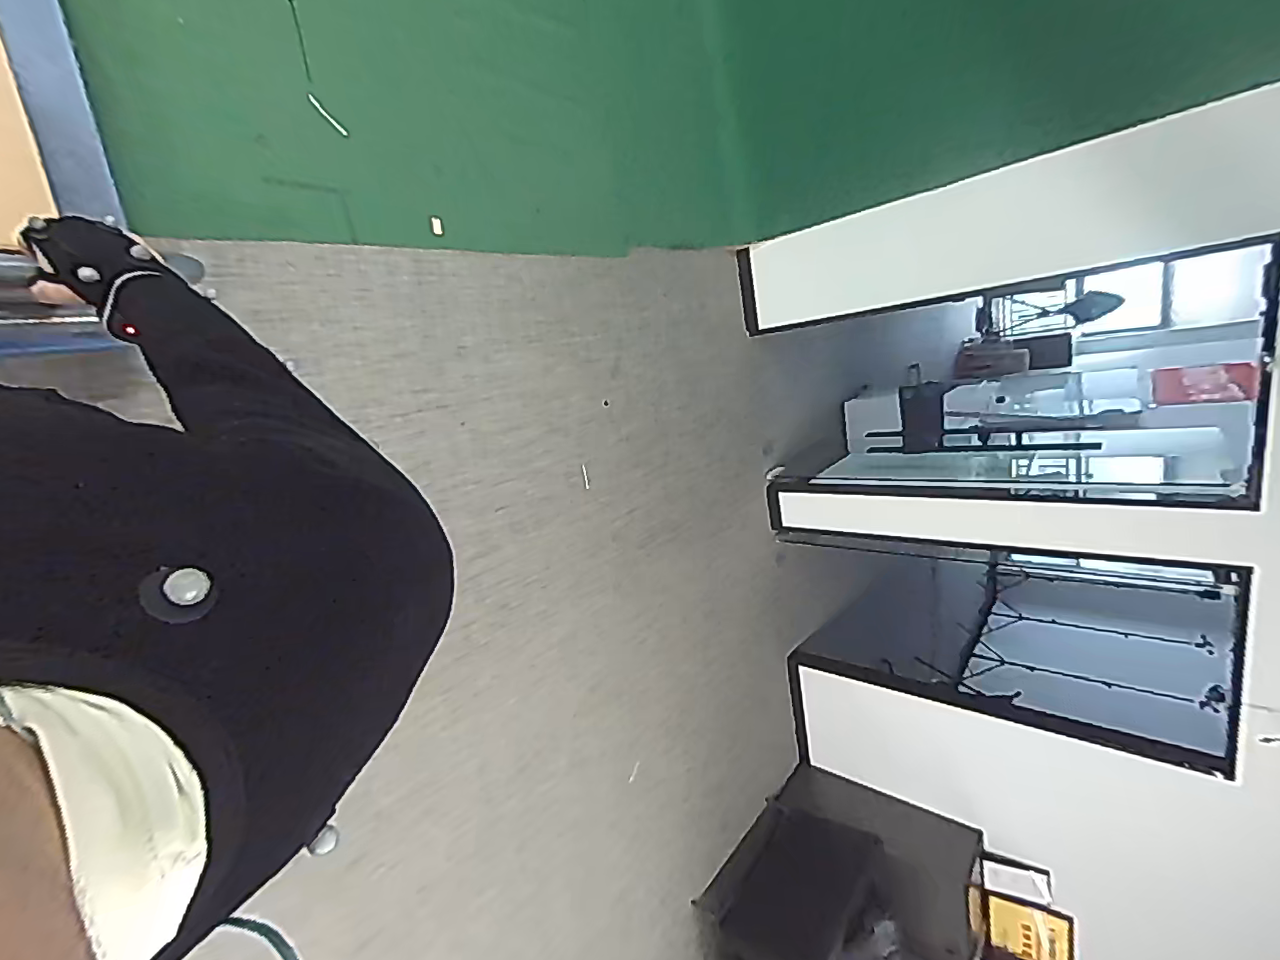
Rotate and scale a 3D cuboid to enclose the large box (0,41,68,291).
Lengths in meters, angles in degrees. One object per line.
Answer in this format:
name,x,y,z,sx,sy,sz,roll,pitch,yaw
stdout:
large box,-1.115,-0.509,0.784,0.320,0.320,0.408,-20,105,-46
